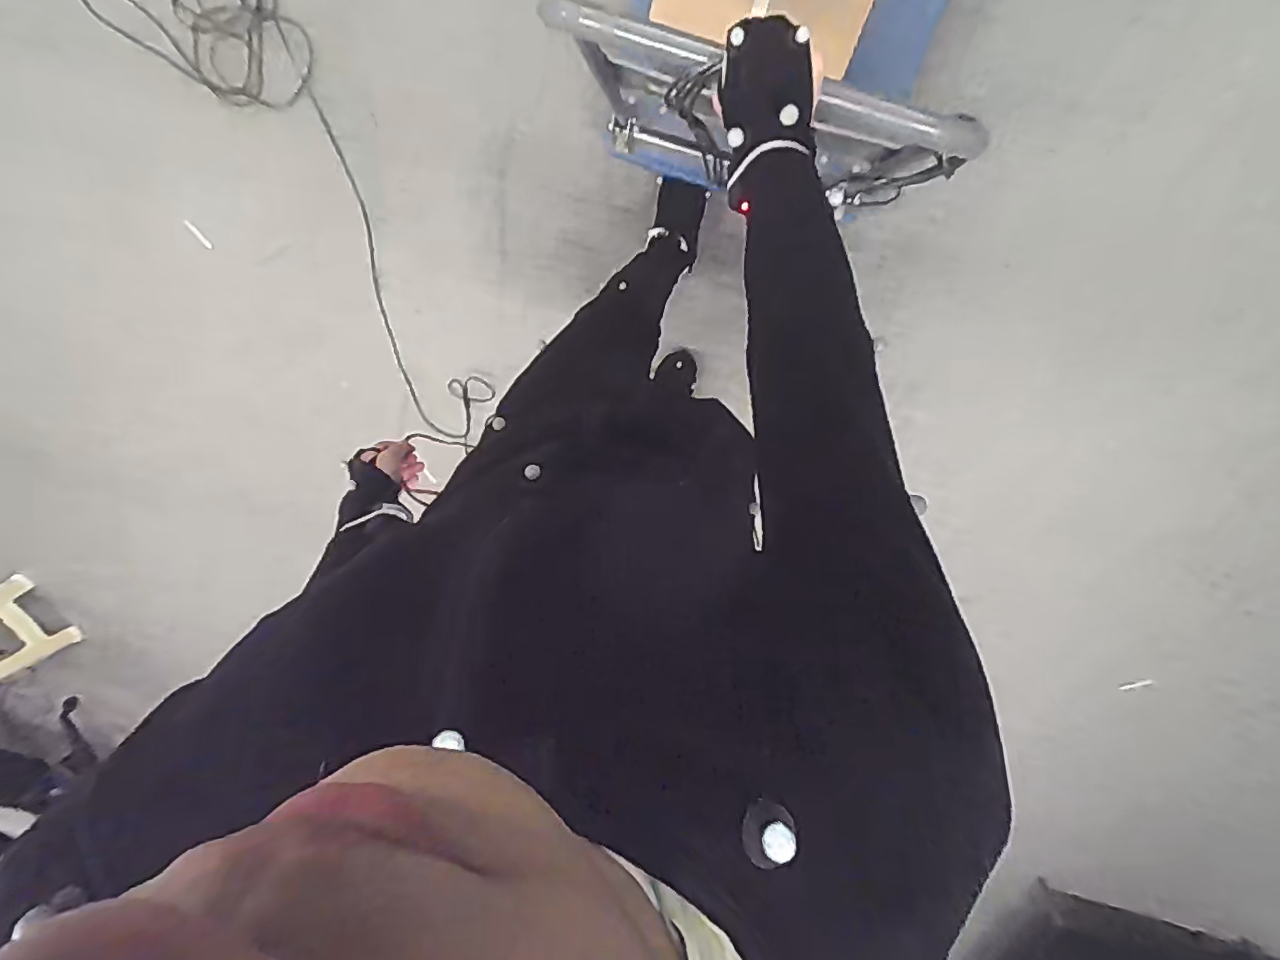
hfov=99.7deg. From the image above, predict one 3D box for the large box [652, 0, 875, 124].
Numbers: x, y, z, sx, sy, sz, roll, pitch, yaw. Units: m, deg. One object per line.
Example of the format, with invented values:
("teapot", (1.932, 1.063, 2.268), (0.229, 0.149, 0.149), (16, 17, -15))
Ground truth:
("large box", (0.238, -0.874, 0.872), (0.320, 0.320, 0.408), (20, 114, -2))
